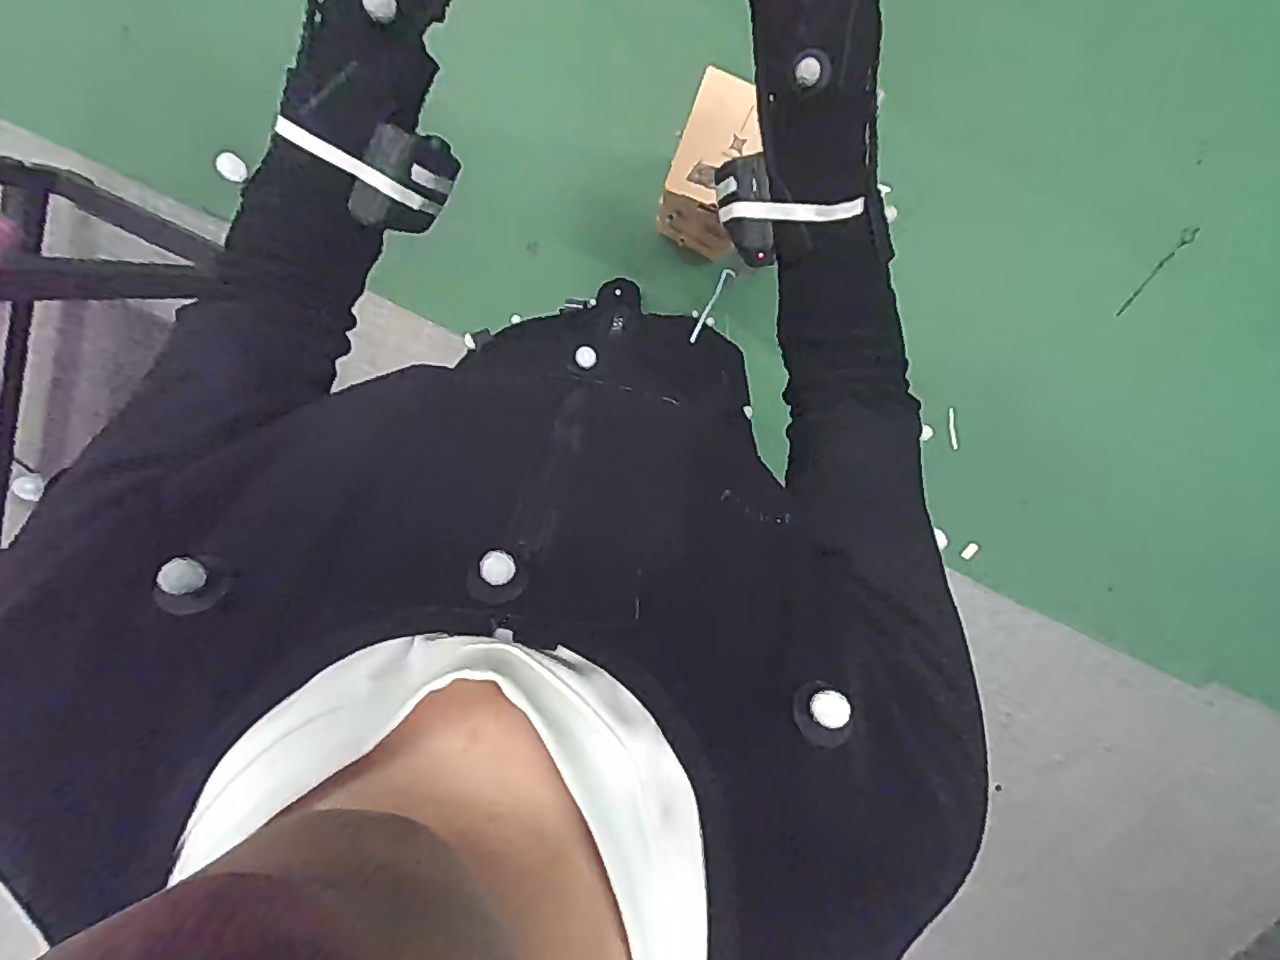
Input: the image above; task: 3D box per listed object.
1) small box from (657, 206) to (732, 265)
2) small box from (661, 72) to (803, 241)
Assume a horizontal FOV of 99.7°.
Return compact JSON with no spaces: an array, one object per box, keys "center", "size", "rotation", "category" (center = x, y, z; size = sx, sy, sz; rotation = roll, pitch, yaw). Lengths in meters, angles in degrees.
[{"center":[0.146,-0.609,1.222],"size":[0.168,0.176,0.179],"rotation":[26,107,-7],"category":"small box"},{"center":[0.143,-0.521,0.905],"size":[0.168,0.176,0.179],"rotation":[21,106,-6],"category":"small box"}]
